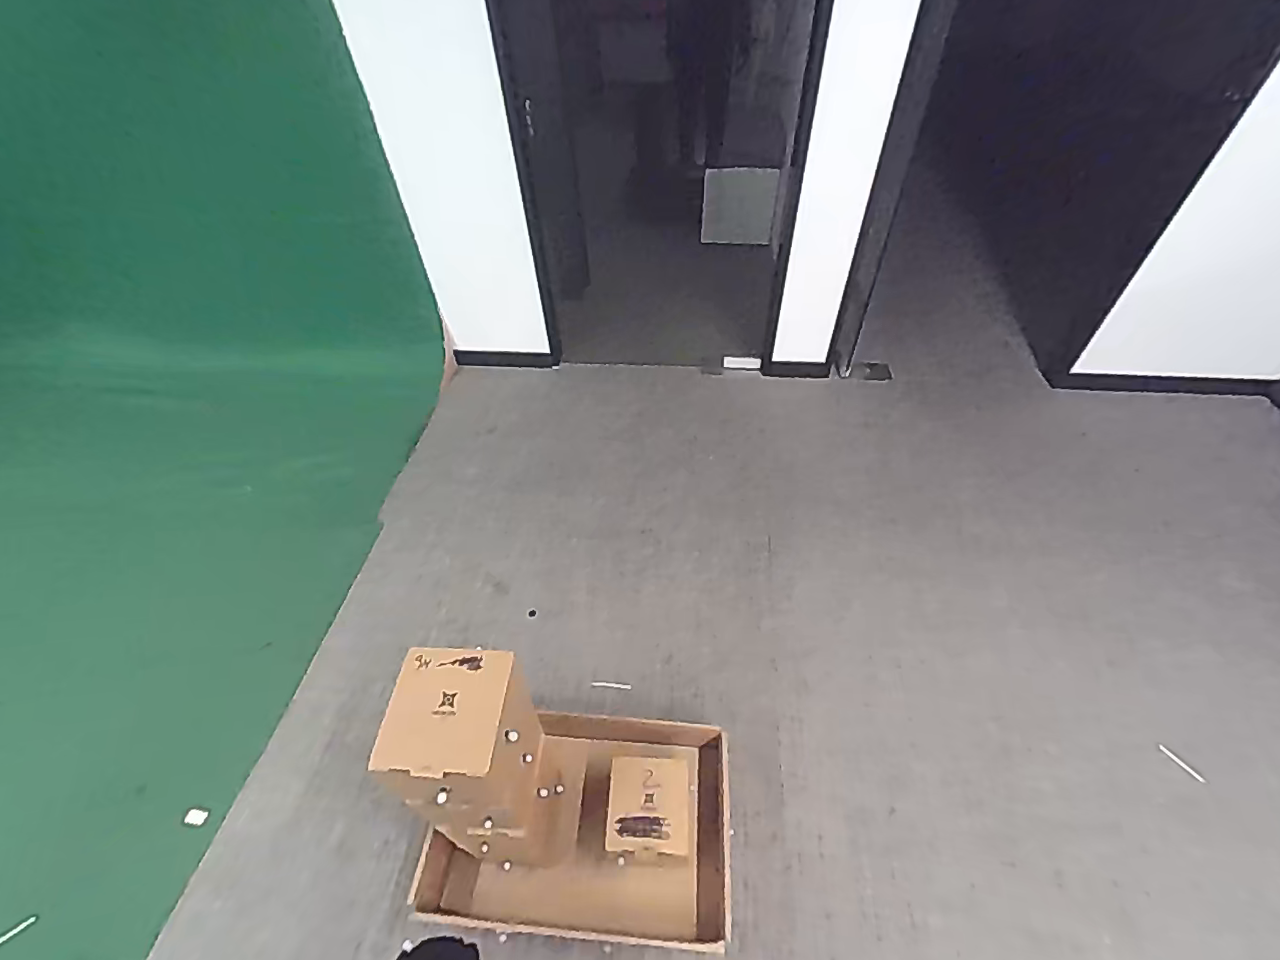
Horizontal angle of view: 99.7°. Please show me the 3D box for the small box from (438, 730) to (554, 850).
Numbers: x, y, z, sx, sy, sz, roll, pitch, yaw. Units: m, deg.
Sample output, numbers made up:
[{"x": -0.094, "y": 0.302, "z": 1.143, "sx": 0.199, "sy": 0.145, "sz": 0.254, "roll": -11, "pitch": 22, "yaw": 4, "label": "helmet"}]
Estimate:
[{"x": -0.269, "y": 0.601, "z": 1.059, "sx": 0.168, "sy": 0.176, "sz": 0.179, "roll": 4, "pitch": 48, "yaw": 4, "label": "small box"}]

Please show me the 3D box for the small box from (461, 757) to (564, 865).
[{"x": -0.267, "y": 0.713, "z": 1.178, "sx": 0.168, "sy": 0.176, "sz": 0.179, "roll": 4, "pitch": 48, "yaw": 5, "label": "small box"}]

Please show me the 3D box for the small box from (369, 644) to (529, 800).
[{"x": -0.273, "y": 0.372, "z": 0.825, "sx": 0.168, "sy": 0.176, "sz": 0.179, "roll": 3, "pitch": 48, "yaw": 2, "label": "small box"}]

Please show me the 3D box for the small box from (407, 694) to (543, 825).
[{"x": -0.272, "y": 0.485, "z": 0.943, "sx": 0.168, "sy": 0.176, "sz": 0.179, "roll": 3, "pitch": 47, "yaw": 2, "label": "small box"}]
